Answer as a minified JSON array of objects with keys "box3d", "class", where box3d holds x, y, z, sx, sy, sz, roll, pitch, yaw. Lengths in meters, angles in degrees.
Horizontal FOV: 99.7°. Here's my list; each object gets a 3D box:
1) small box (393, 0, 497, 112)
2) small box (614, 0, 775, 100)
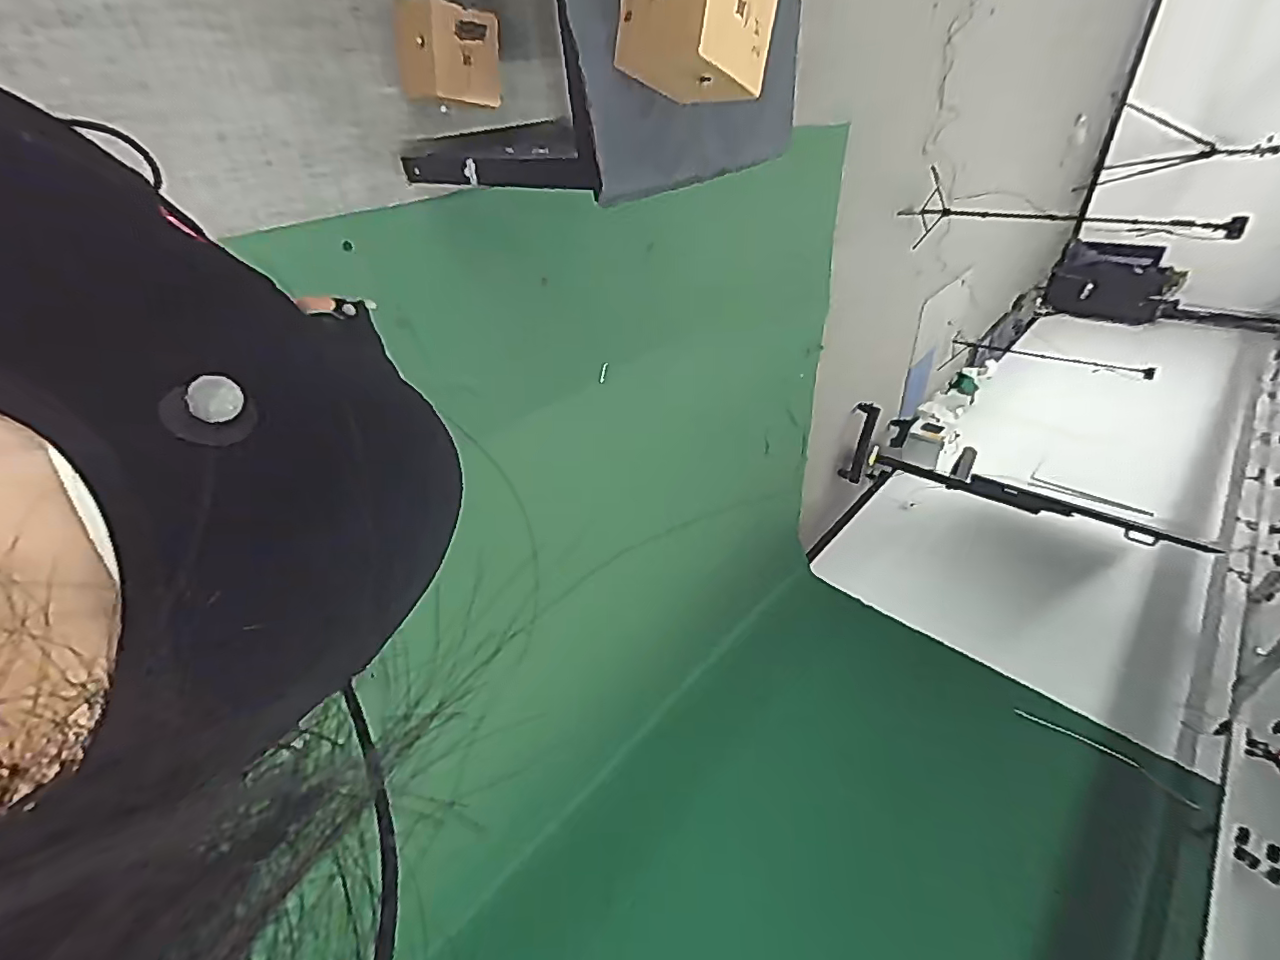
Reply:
[{"box3d":[-0.449,-0.969,1.246,0.168,0.176,0.179,-22,128,-41],"class":"small box"},{"box3d":[0.082,-0.701,0.821,0.179,0.176,0.168,-15,122,-48],"class":"small box"}]
